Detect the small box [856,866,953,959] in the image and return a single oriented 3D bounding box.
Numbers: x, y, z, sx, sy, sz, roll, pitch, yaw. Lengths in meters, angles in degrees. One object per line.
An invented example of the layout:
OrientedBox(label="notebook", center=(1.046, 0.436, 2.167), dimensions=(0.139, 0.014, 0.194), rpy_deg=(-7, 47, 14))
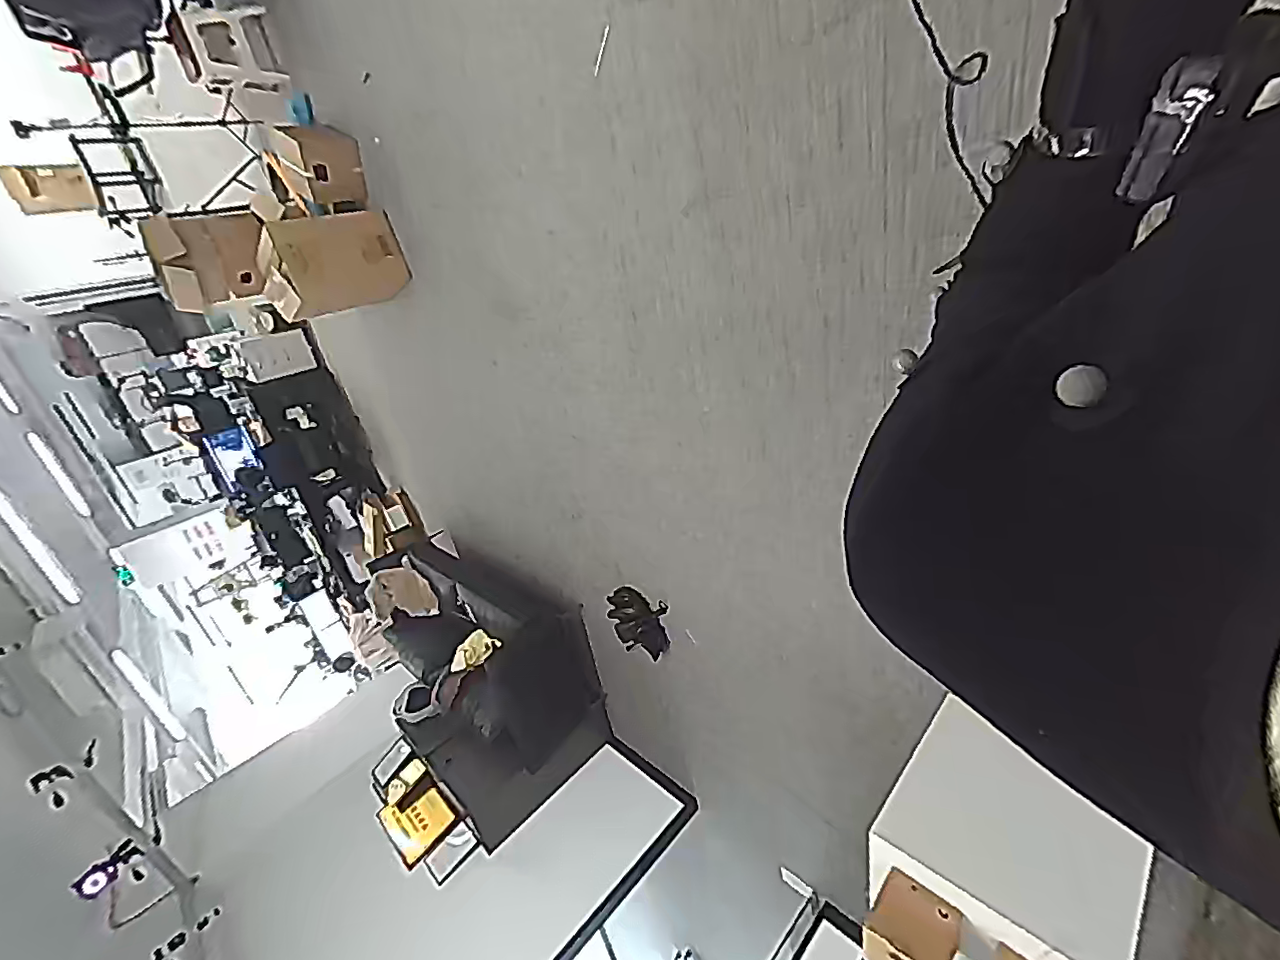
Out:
OrientedBox(label="small box", center=(0.641, 1.096, 1.311), dimensions=(0.168, 0.176, 0.179), rpy_deg=(16, 127, 43))
